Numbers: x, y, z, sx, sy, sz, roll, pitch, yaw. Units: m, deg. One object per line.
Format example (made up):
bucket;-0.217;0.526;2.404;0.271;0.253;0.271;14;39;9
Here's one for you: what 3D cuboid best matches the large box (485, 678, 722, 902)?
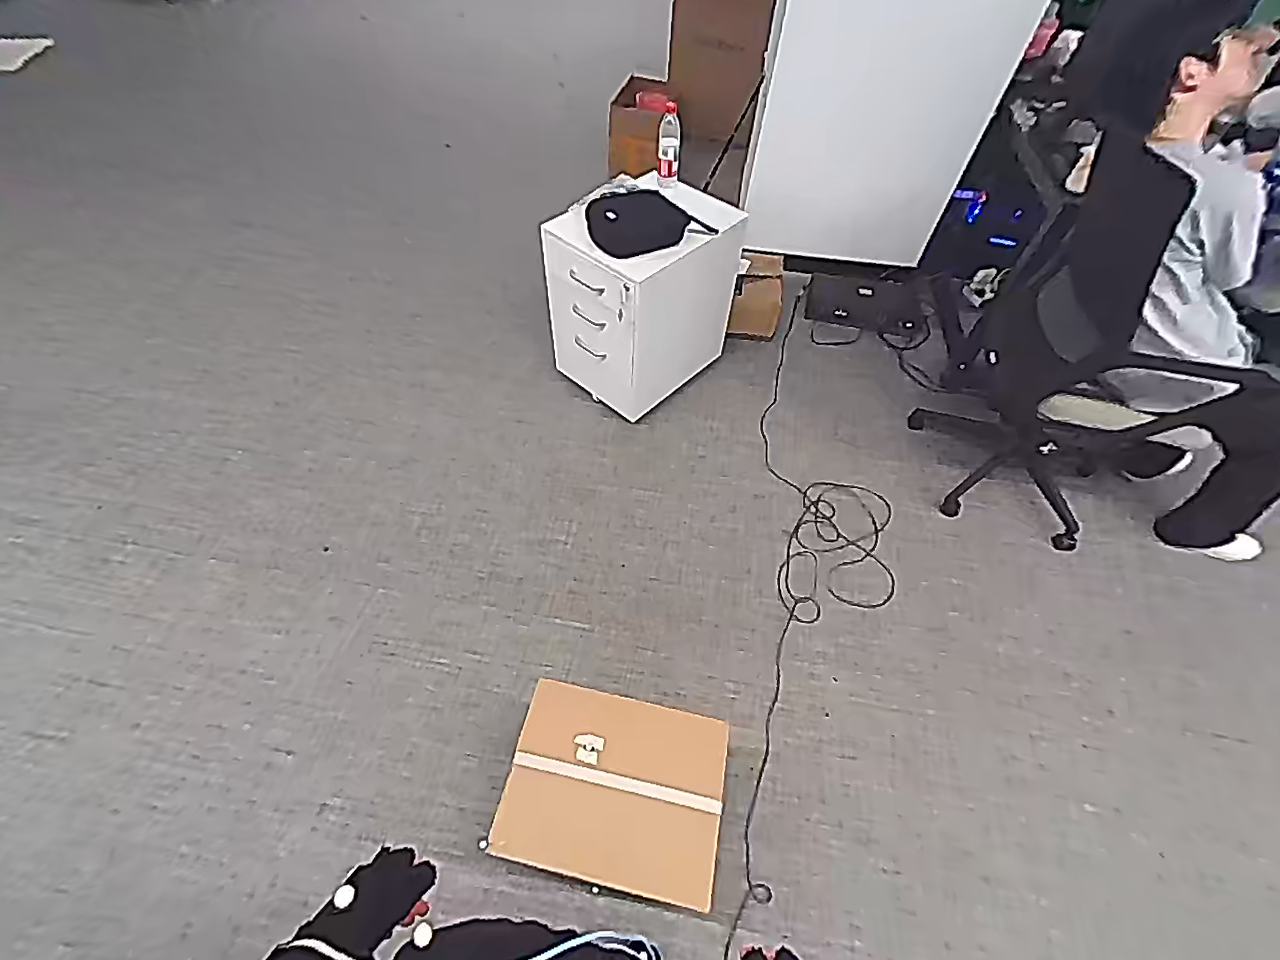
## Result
large box;-0.057;0.657;1.152;0.408;0.320;0.320;11;54;6
